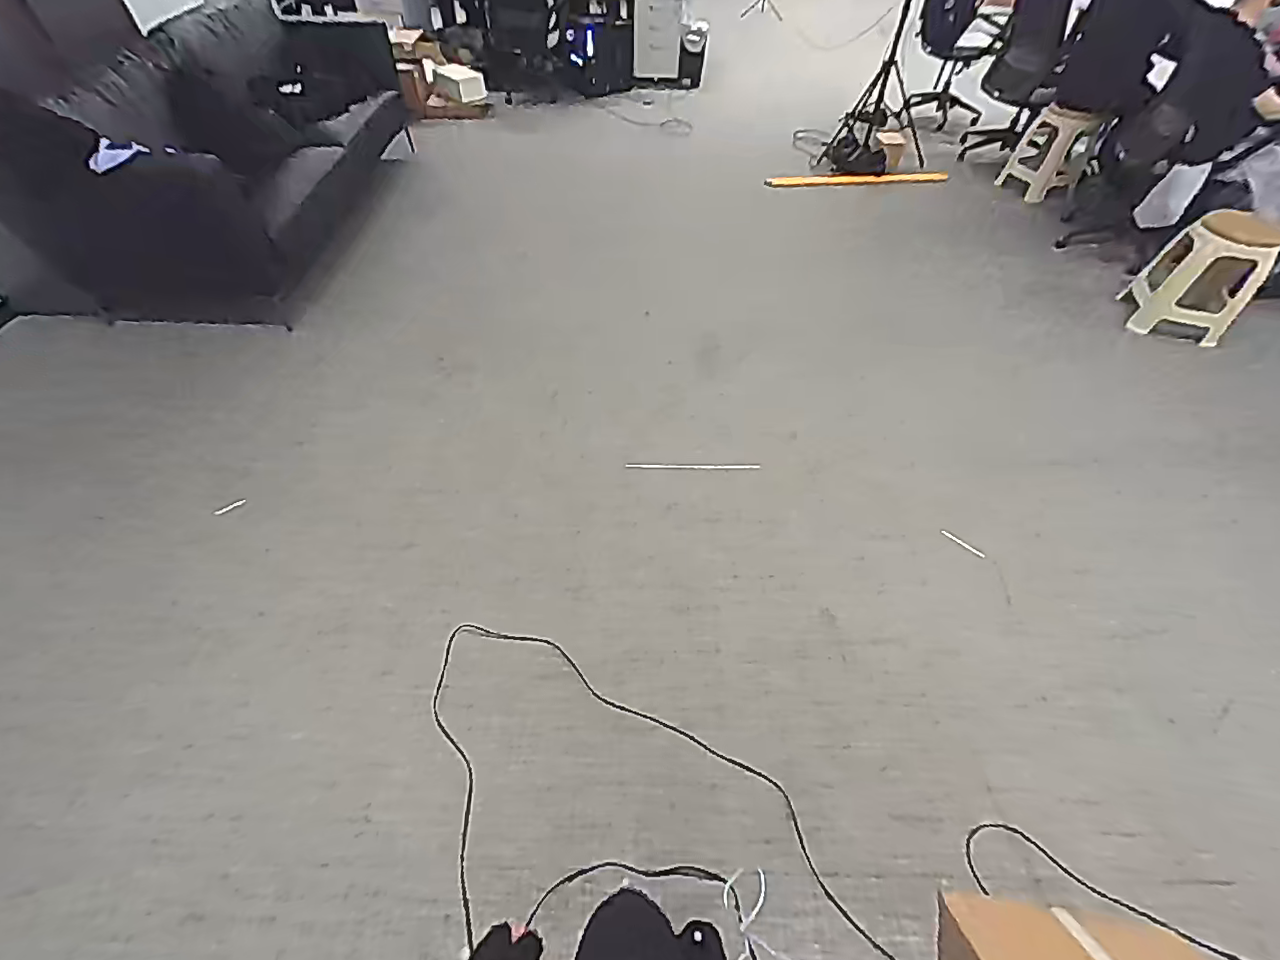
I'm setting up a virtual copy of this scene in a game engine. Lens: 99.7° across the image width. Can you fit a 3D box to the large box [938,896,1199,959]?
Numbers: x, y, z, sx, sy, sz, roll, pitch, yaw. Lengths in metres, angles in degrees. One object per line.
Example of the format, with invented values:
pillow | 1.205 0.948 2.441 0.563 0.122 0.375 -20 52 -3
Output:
large box | 0.559 0.758 0.579 0.320 0.408 0.320 4 84 10
